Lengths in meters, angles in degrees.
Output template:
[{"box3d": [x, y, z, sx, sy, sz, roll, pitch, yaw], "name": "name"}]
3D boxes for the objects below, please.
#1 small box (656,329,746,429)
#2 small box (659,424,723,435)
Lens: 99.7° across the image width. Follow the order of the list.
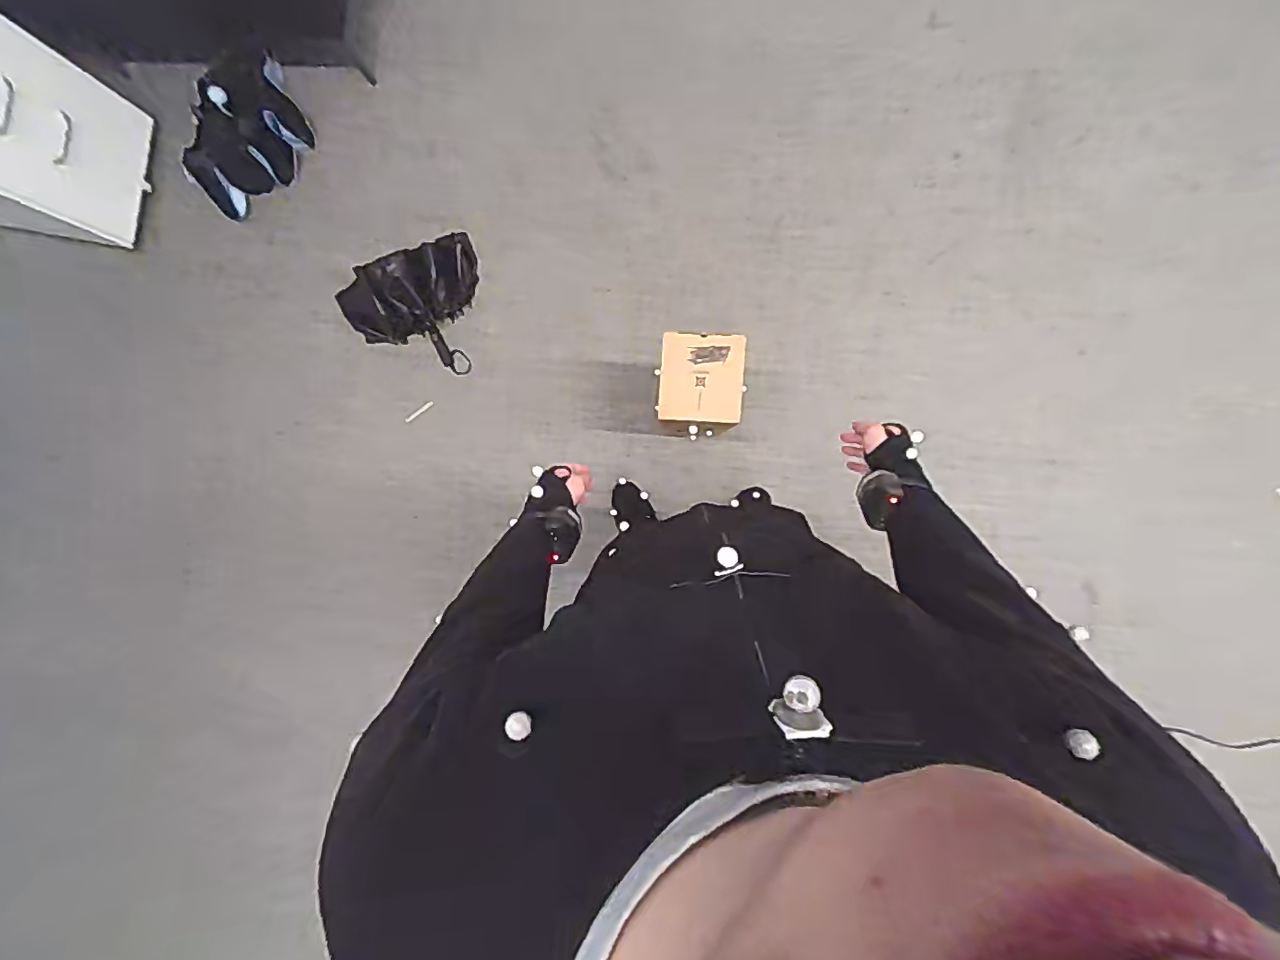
[{"box3d": [0.122, -0.205, 1.133, 0.168, 0.176, 0.179, 4, 92, 4], "name": "small box"}, {"box3d": [0.141, -0.214, 1.459, 0.168, 0.176, 0.179, 3, 92, 3], "name": "small box"}]
